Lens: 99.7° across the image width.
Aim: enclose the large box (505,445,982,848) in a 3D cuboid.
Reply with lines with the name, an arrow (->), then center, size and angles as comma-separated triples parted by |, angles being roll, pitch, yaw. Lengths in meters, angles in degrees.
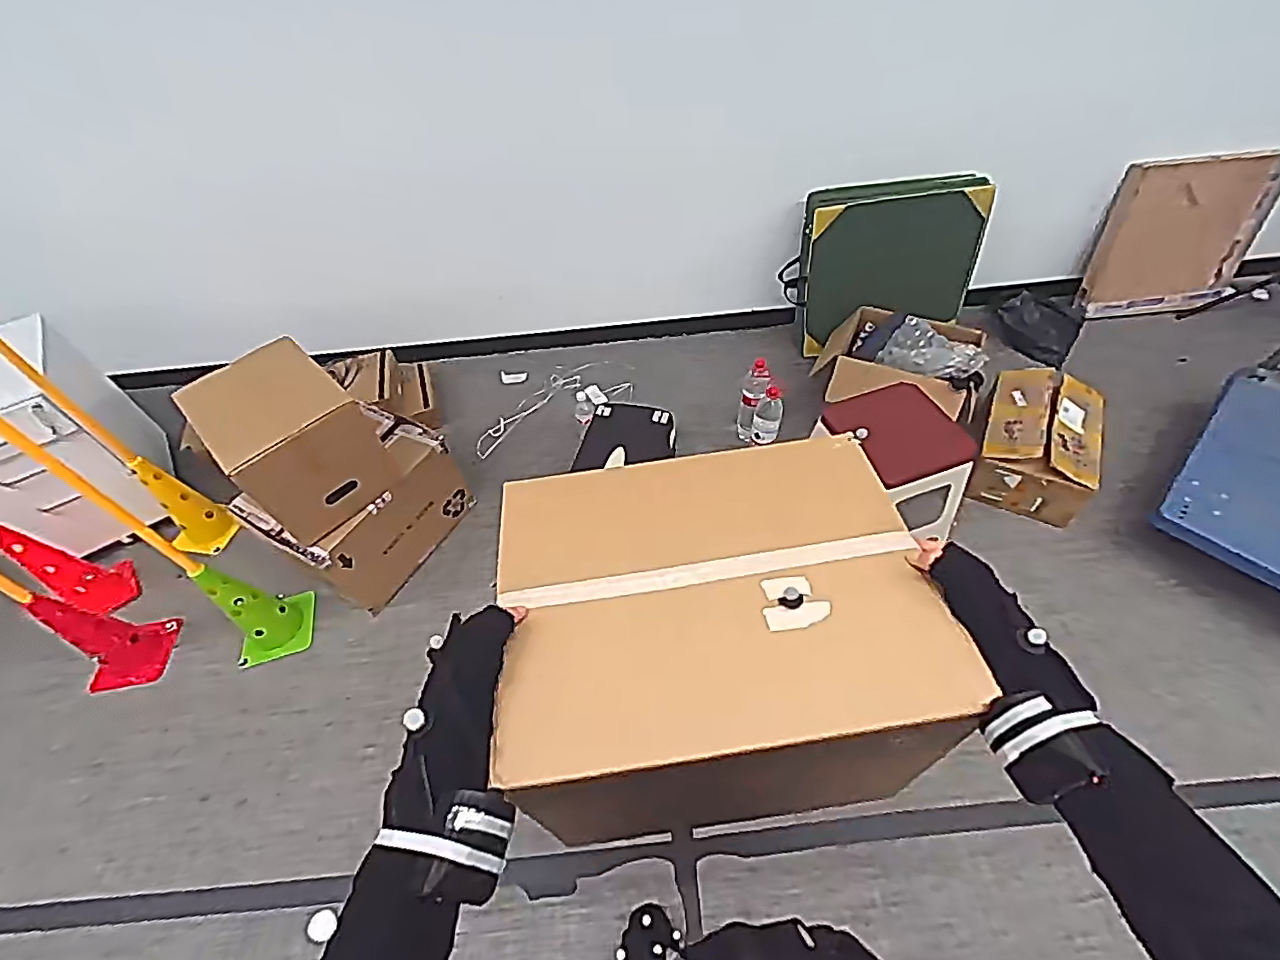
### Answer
large box -> 0.077, 0.198, 0.642 | 0.408, 0.320, 0.320 | -8, 48, -2
